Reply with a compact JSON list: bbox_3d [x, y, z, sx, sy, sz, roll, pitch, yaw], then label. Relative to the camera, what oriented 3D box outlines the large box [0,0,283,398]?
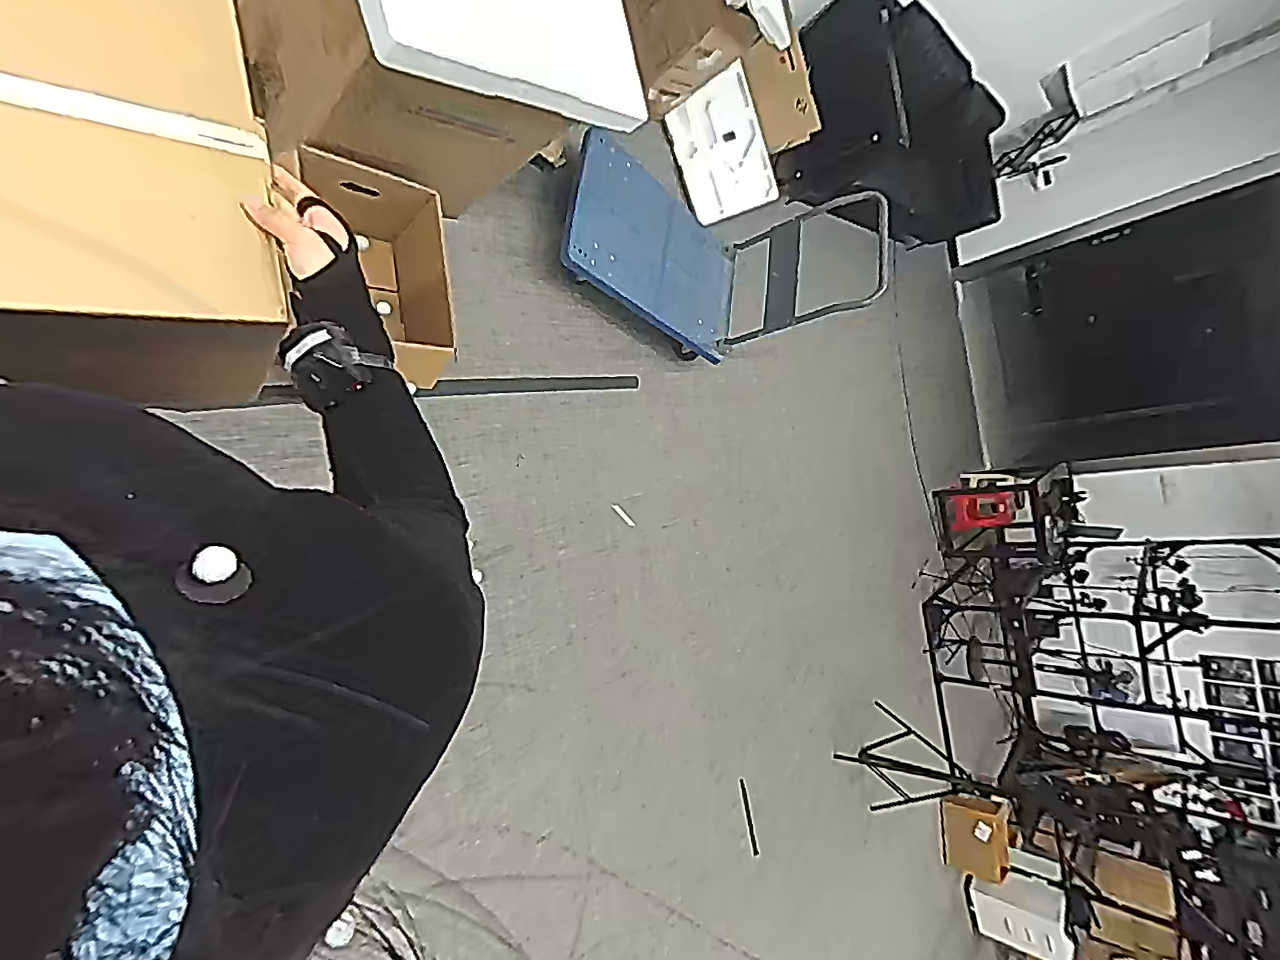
[{"bbox_3d":[-0.595,-0.255,0.476,0.408,0.320,0.320,-11,90,-41],"label":"large box"}]
